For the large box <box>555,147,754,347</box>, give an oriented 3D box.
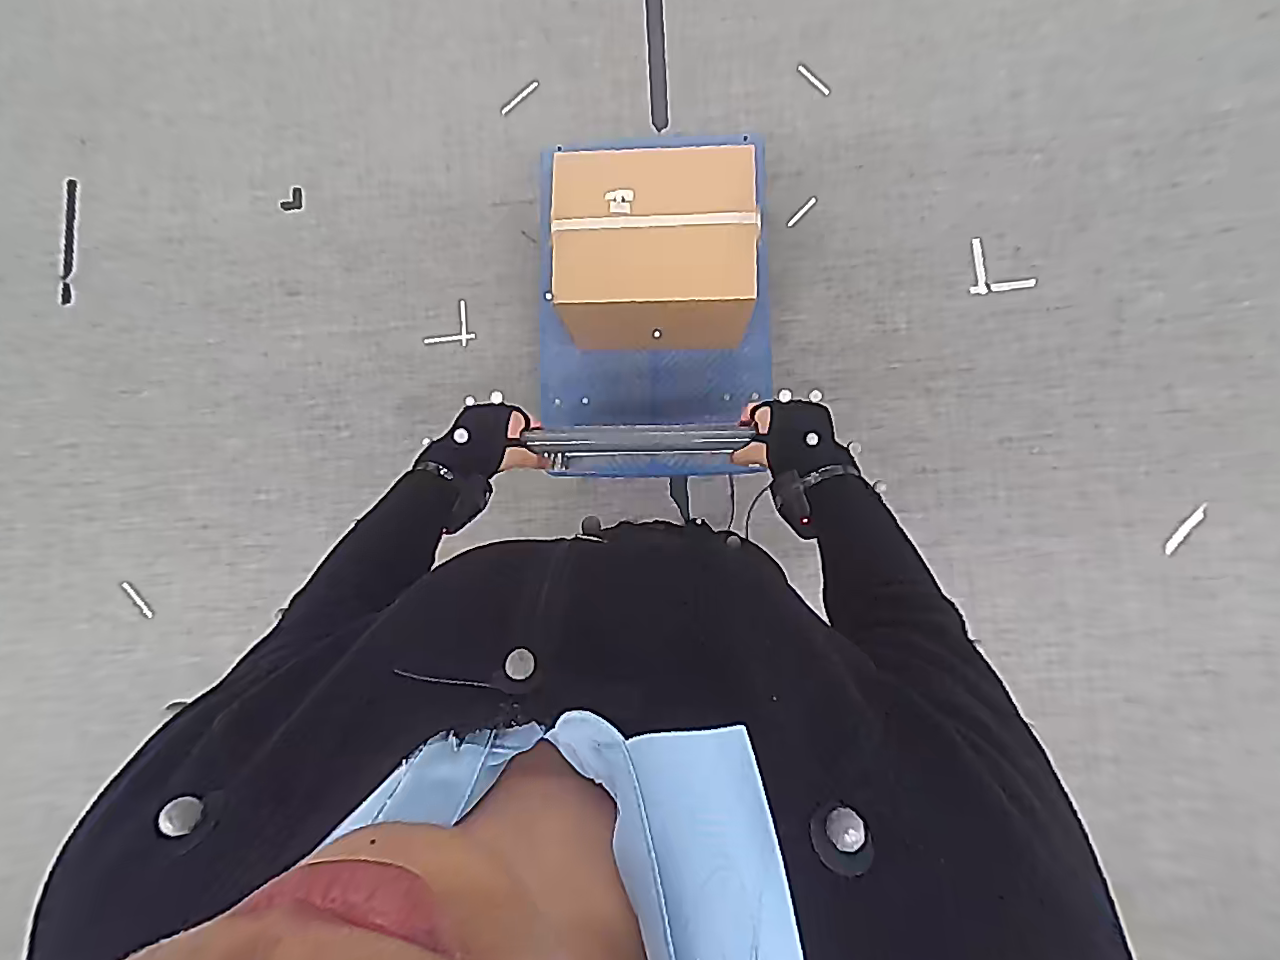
[{"bbox_3d":[0.039,-0.502,1.235,0.408,0.320,0.320,-1,86,5],"label":"large box"}]
